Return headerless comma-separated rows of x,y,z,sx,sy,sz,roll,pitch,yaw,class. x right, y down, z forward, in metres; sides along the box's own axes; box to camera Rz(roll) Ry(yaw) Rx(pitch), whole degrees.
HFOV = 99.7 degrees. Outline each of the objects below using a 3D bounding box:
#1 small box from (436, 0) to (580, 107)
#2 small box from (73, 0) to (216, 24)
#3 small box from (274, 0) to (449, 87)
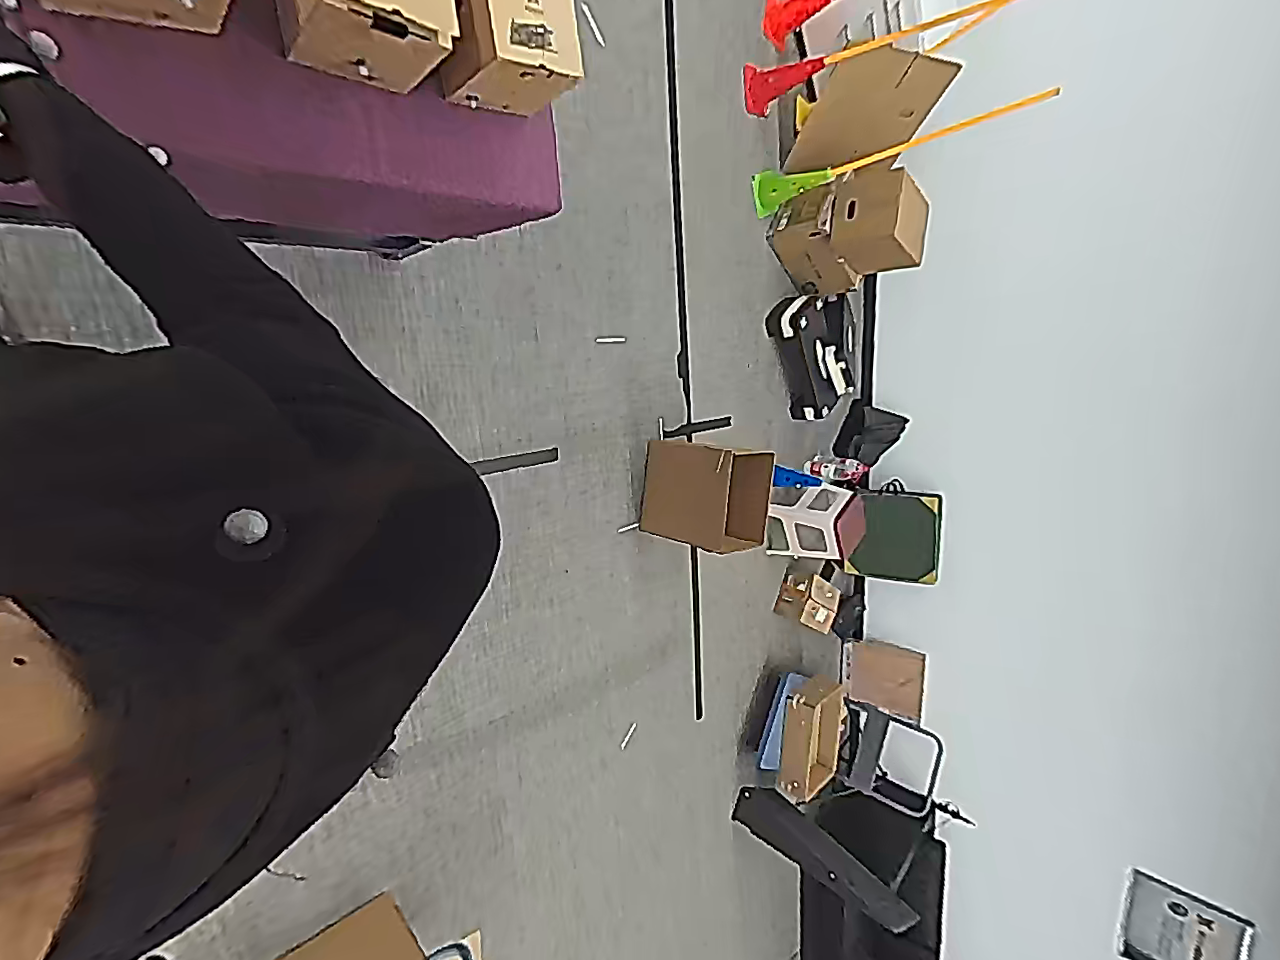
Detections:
-0.221,-0.725,0.857,0.168,0.176,0.179,-23,112,-41,small box
-0.550,-0.610,0.546,0.168,0.176,0.179,-28,116,-40,small box
-0.375,-0.667,0.711,0.168,0.176,0.179,-15,108,-43,small box
